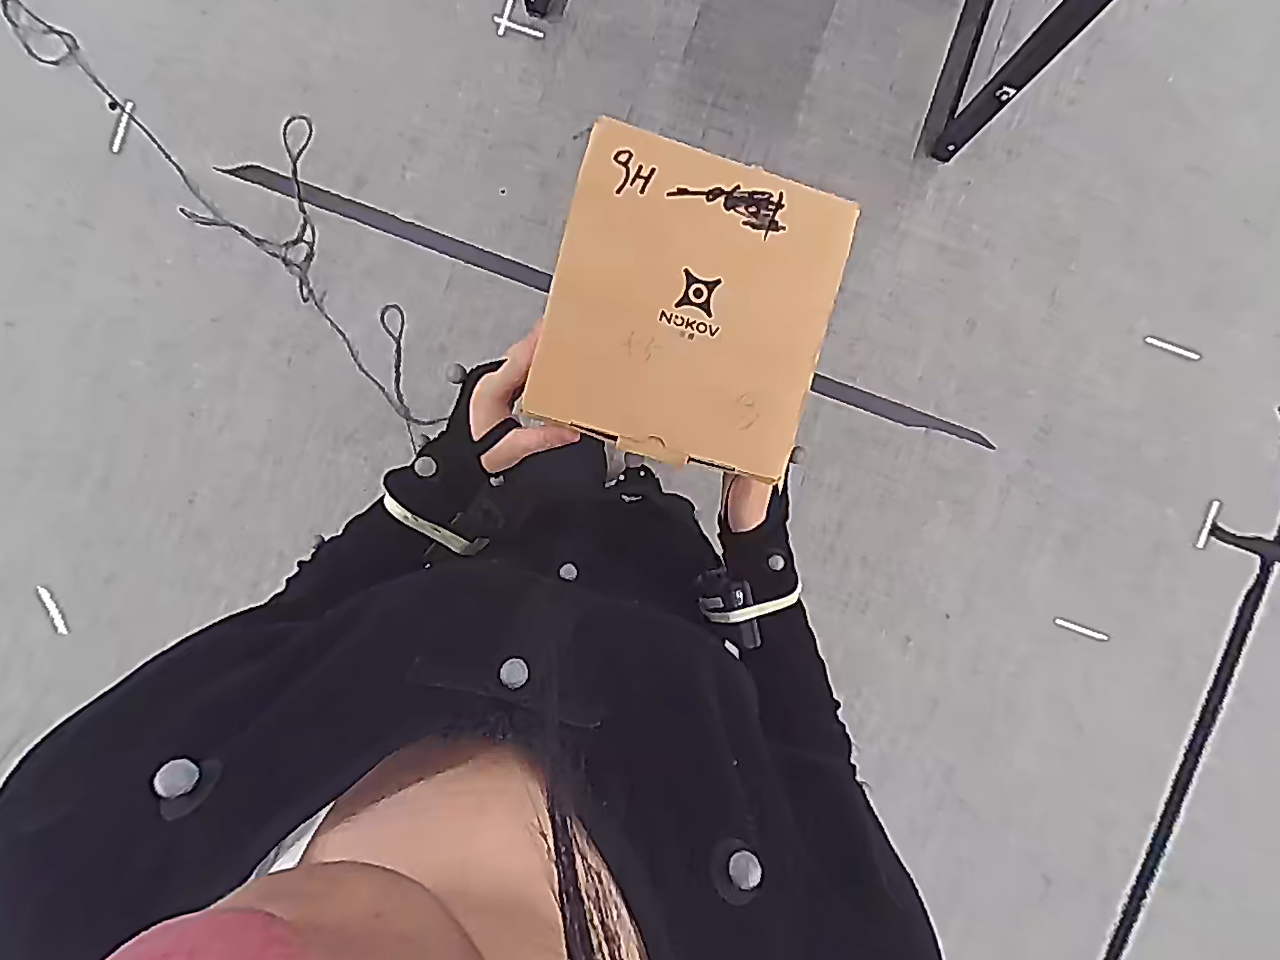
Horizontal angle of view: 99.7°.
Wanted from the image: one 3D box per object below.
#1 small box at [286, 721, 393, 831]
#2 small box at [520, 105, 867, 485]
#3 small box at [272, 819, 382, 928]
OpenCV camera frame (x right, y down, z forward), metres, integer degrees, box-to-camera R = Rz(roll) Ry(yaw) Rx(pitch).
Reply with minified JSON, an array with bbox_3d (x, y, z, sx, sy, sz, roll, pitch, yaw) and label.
[{"bbox_3d":[-0.772,0.761,1.410,0.168,0.176,0.179,16,93,-1],"label":"small box"},{"bbox_3d":[0.024,-0.109,0.389,0.168,0.176,0.179,15,94,-8],"label":"small box"},{"bbox_3d":[-0.815,1.017,1.423,0.179,0.176,0.168,13,94,-2],"label":"small box"}]
